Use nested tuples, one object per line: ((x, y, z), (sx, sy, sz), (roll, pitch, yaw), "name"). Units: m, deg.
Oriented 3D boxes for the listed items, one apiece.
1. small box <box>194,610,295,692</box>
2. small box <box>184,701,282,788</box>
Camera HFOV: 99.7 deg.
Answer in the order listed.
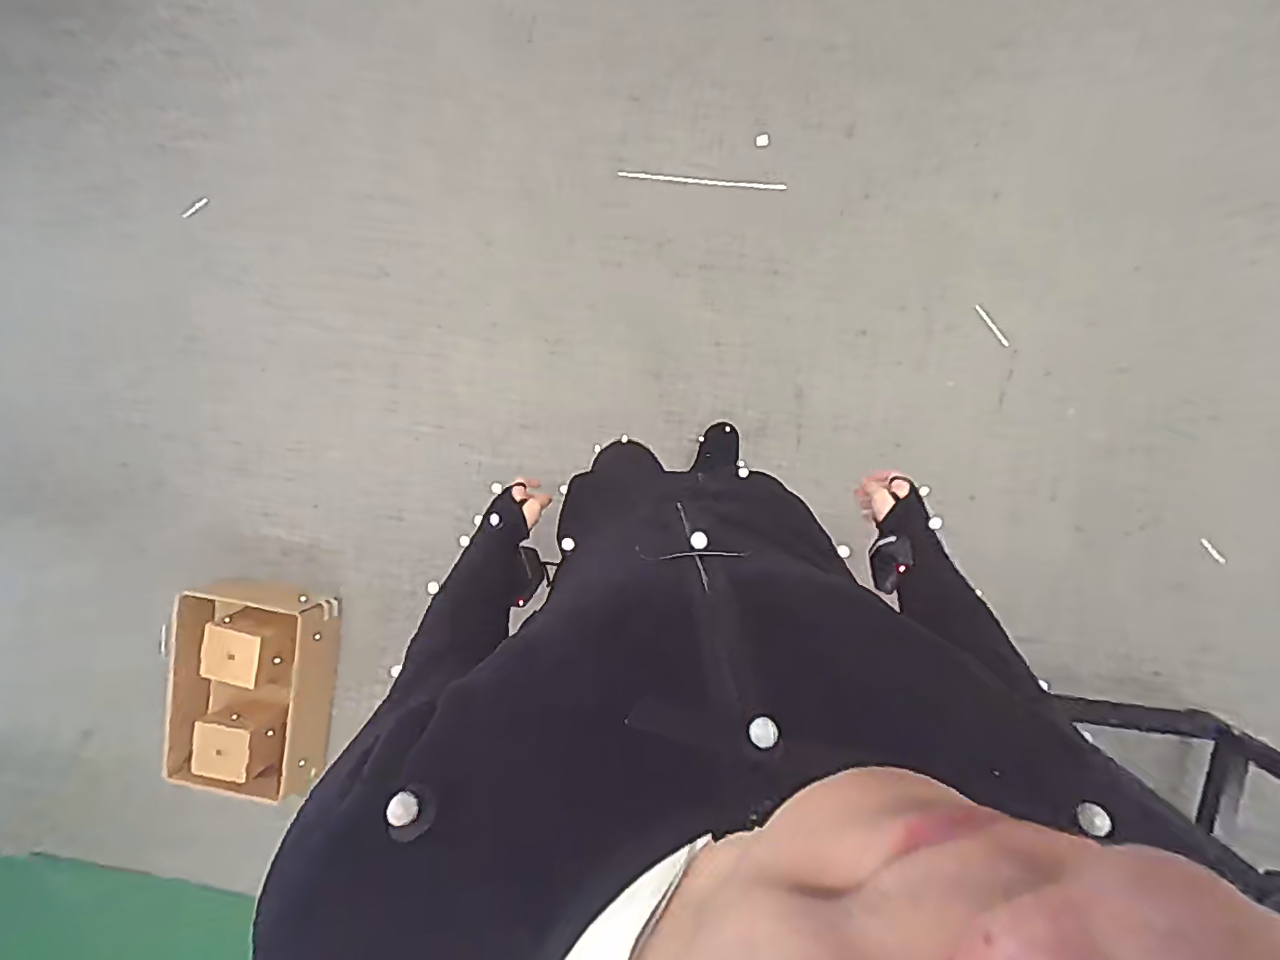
((-1.189, 0.510, 1.637), (0.179, 0.176, 0.168), (13, 96, 4), "small box")
((-1.243, 0.805, 1.662), (0.179, 0.176, 0.168), (9, 94, 5), "small box")
